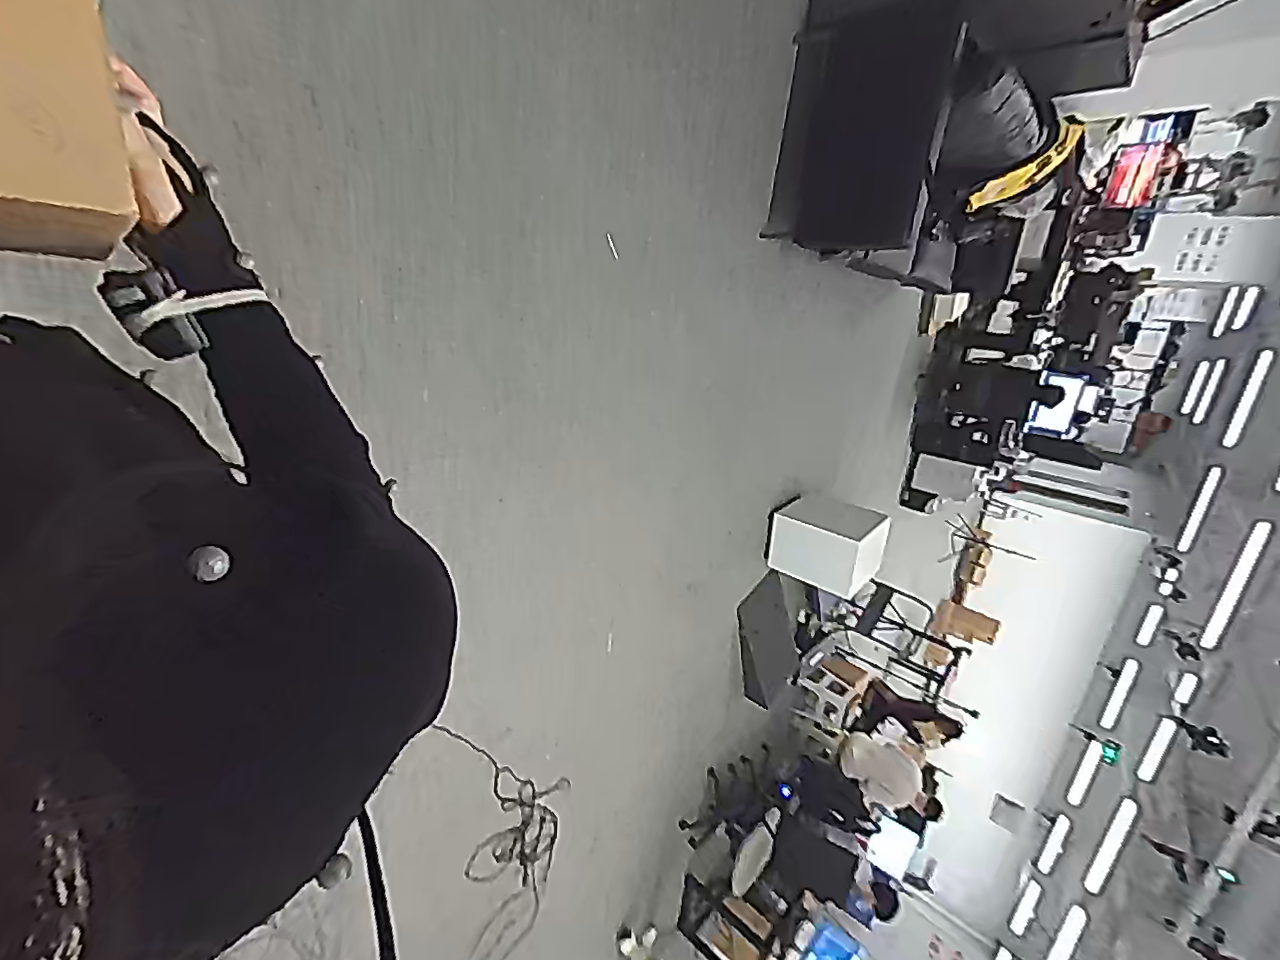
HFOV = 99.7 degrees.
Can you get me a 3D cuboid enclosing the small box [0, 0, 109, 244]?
[{"bbox_3d":[-0.417,-0.239,0.288,0.168,0.176,0.179,-12,106,-49],"label":"small box"}]
